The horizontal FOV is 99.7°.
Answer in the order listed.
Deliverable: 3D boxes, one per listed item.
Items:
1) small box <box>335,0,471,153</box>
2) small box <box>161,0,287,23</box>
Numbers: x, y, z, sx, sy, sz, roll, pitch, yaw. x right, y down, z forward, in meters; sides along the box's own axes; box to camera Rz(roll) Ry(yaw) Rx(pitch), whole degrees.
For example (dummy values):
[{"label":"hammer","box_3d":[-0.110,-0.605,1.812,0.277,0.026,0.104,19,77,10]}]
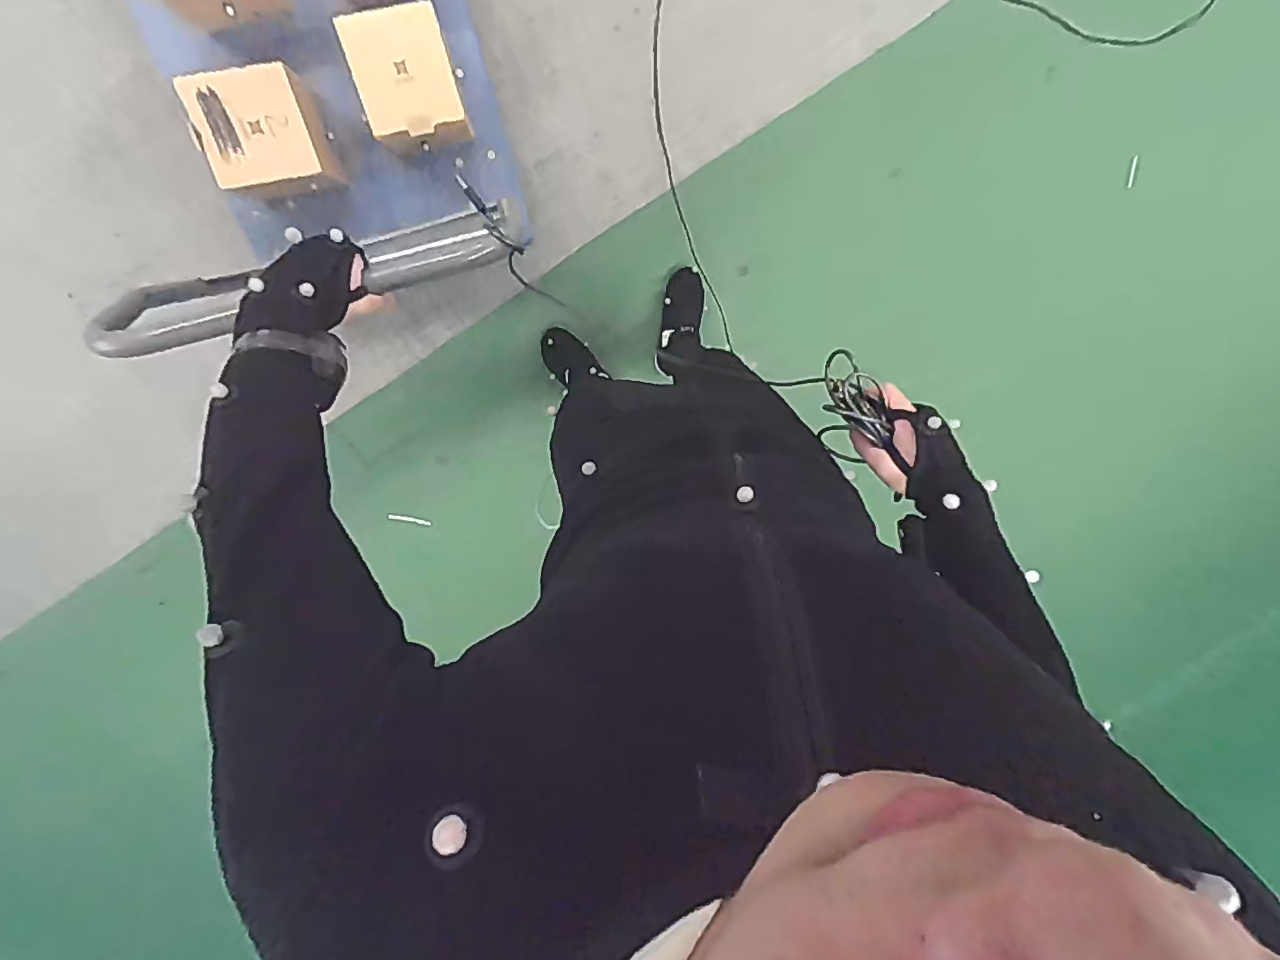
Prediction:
[{"label":"small box","box_3d":[-0.423,-0.731,0.998,0.168,0.176,0.179,-16,115,-6]},{"label":"small box","box_3d":[-0.716,-0.879,0.870,0.168,0.176,0.179,-21,115,-5]}]
